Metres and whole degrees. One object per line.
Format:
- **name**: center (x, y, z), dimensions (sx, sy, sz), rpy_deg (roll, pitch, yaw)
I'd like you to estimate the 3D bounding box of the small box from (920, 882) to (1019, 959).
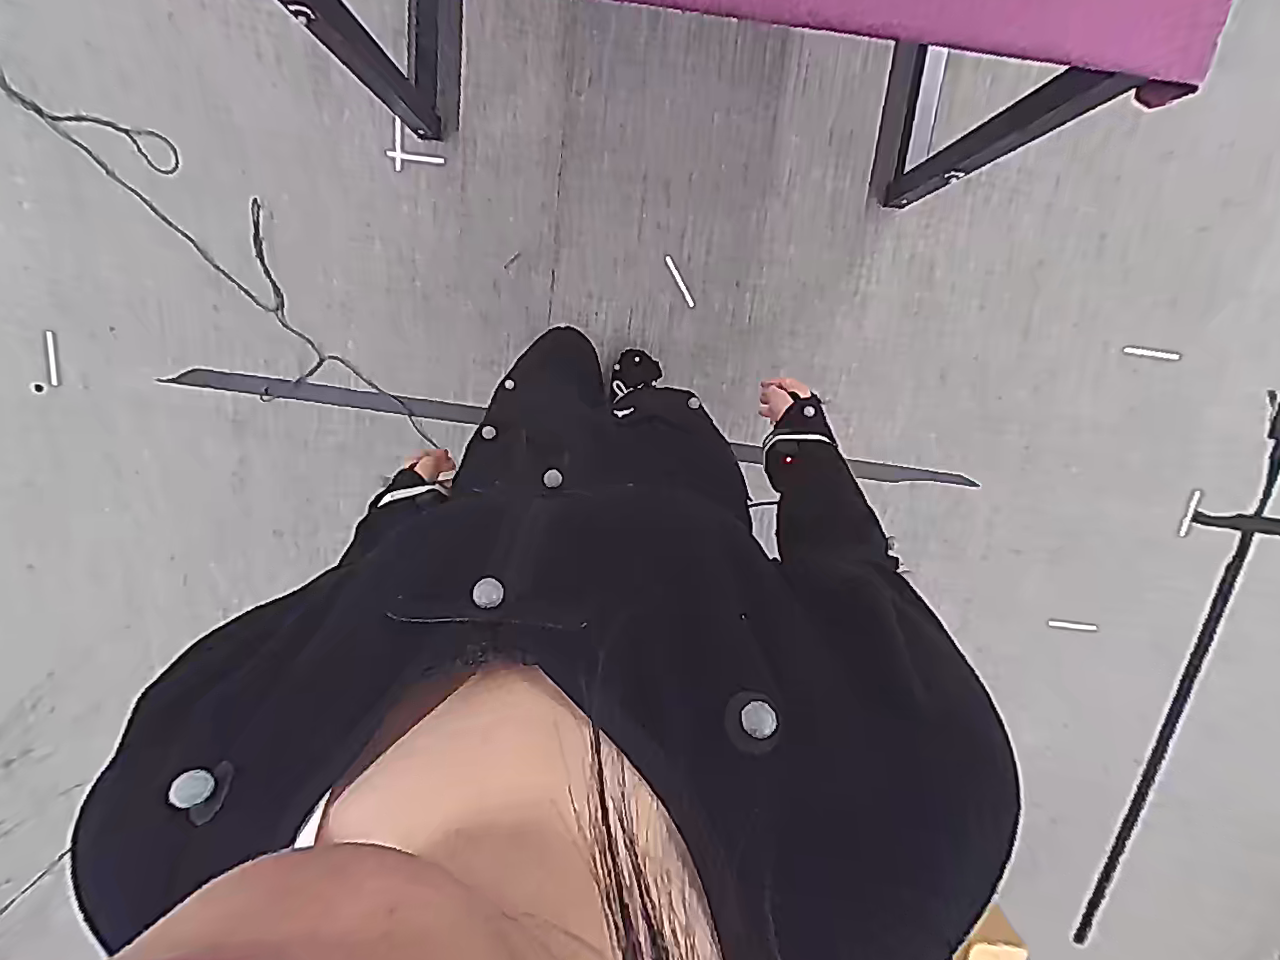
- **small box**: center (0.968, 1.354, 1.609), dimensions (0.168, 0.176, 0.179), rpy_deg (11, 103, -5)
